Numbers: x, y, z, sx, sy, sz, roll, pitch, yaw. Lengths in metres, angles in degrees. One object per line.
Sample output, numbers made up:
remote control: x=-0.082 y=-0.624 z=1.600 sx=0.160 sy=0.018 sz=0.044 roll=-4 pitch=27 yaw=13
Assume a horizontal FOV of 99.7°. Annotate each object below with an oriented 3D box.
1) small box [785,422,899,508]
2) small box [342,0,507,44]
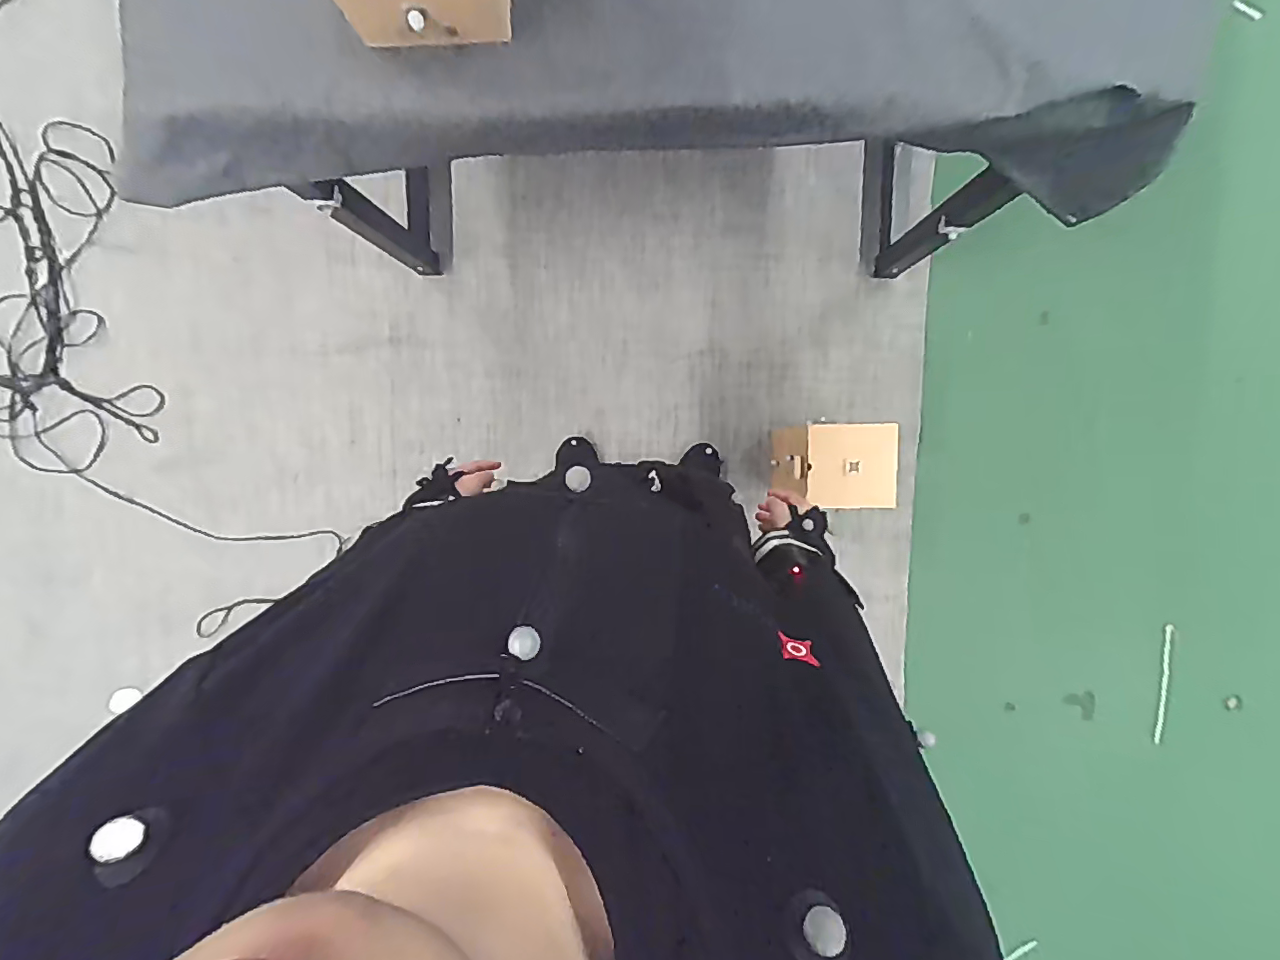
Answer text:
small box: x=0.408 y=-0.037 z=1.112 sx=0.179 sy=0.176 sz=0.168 roll=-1 pitch=95 yaw=2
small box: x=-0.230 y=-0.567 z=0.515 sx=0.168 sy=0.176 sz=0.179 roll=-1 pitch=96 yaw=2
